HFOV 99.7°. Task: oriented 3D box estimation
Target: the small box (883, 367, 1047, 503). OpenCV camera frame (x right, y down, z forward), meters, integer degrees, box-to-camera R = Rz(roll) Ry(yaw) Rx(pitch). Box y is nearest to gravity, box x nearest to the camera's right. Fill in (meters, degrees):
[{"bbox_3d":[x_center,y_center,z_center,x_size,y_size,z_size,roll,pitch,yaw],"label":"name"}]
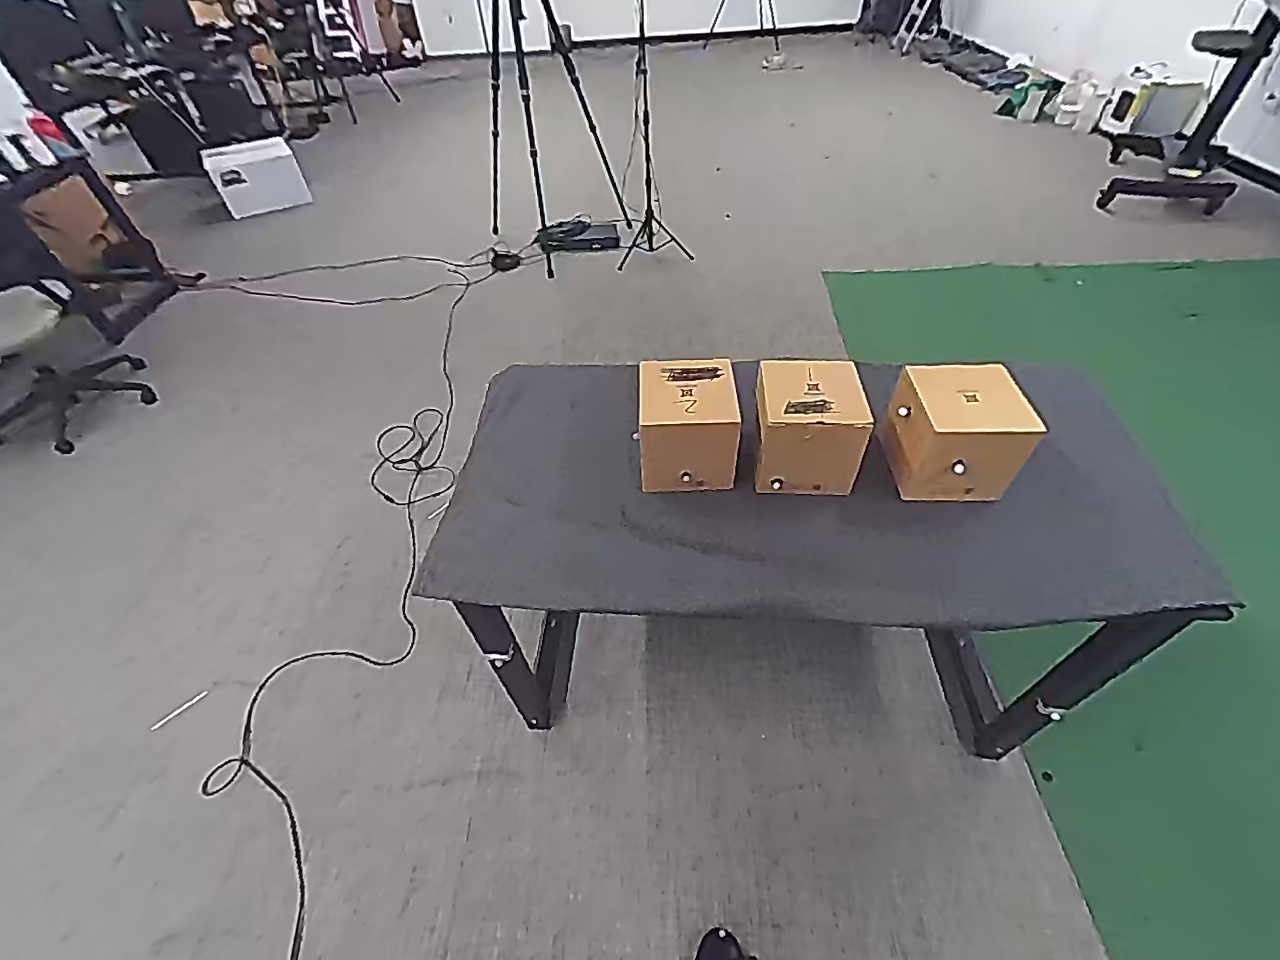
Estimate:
[{"bbox_3d":[0.541,-0.074,0.930,0.168,0.176,0.179,0,47,4],"label":"small box"}]
